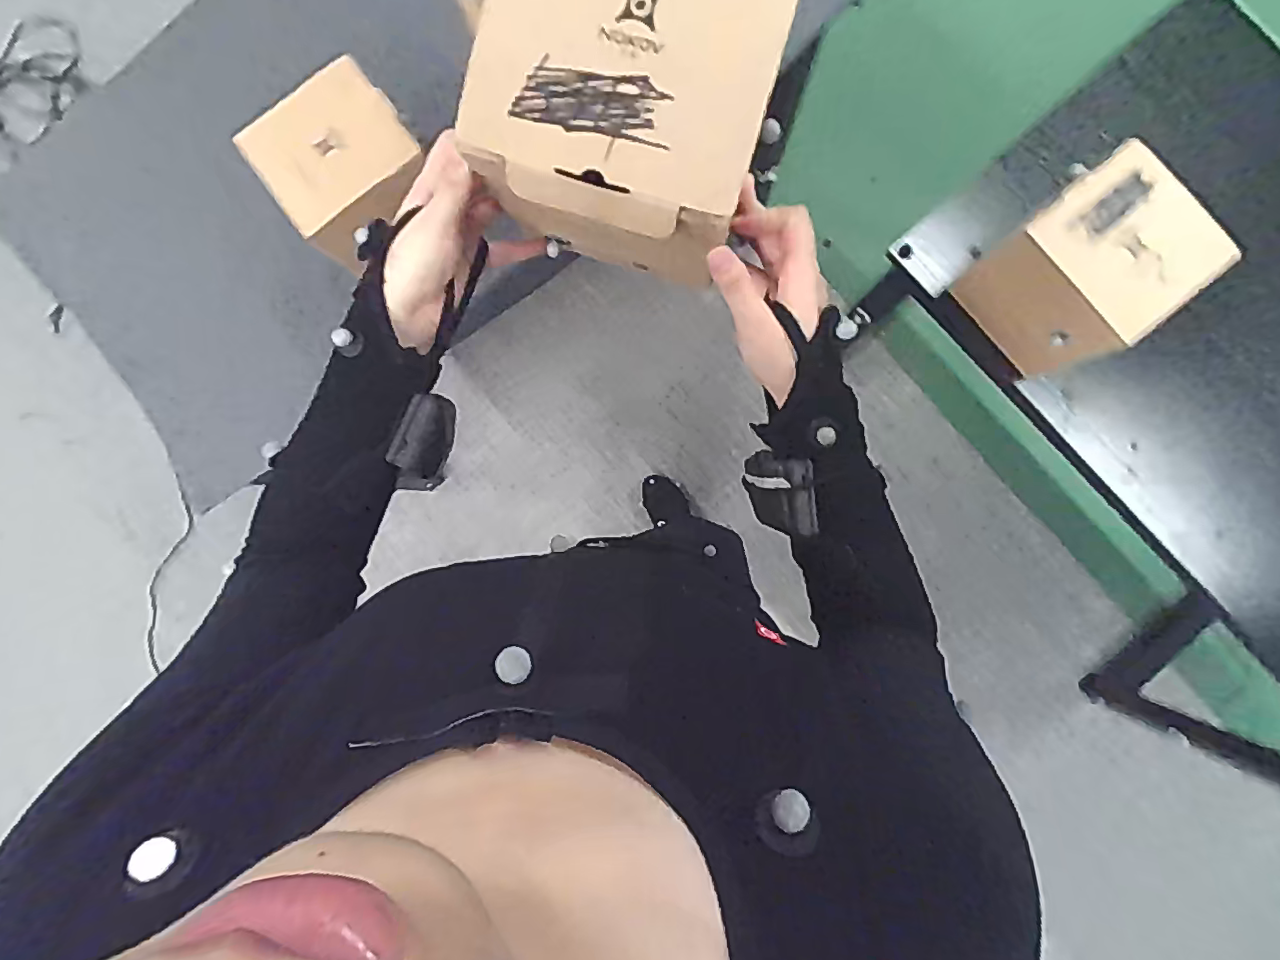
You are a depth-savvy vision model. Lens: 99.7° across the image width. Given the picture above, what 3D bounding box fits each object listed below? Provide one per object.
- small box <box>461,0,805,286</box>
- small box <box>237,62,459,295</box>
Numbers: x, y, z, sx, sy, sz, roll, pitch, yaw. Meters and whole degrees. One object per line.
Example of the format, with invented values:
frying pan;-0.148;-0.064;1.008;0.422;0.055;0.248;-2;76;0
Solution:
small box;0.004;-0.252;0.370;0.168;0.176;0.179;17;97;1
small box;-0.370;-0.388;0.728;0.179;0.176;0.168;-38;84;2
